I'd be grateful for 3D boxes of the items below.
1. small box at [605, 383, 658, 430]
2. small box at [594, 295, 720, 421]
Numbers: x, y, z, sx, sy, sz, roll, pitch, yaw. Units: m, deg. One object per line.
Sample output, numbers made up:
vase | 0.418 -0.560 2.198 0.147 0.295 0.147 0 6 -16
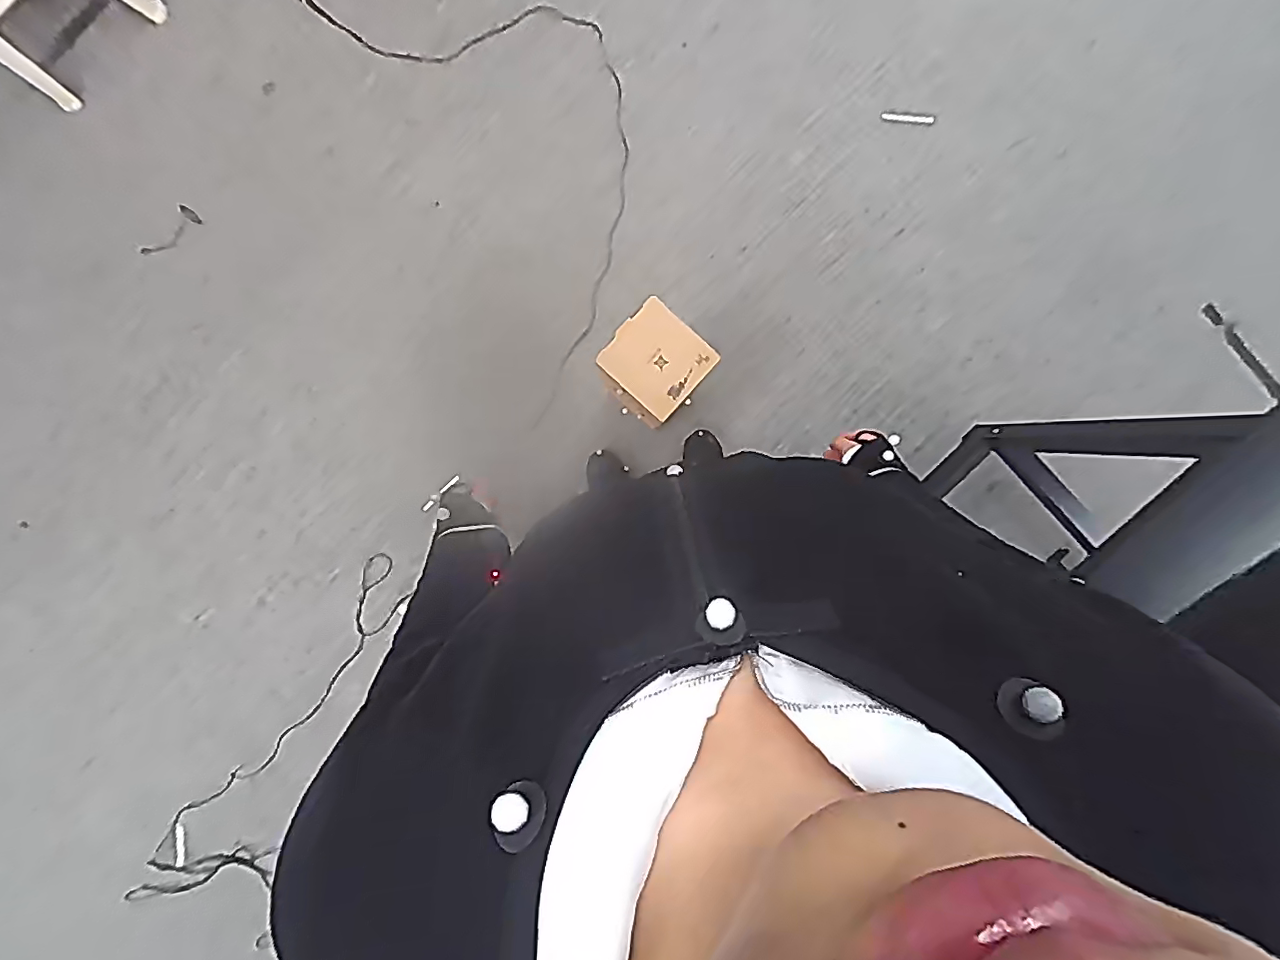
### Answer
small box | 0.029 -0.247 1.402 0.168 0.176 0.179 42 94 -2
small box | 0.031 -0.229 1.076 0.179 0.176 0.168 42 93 -2
